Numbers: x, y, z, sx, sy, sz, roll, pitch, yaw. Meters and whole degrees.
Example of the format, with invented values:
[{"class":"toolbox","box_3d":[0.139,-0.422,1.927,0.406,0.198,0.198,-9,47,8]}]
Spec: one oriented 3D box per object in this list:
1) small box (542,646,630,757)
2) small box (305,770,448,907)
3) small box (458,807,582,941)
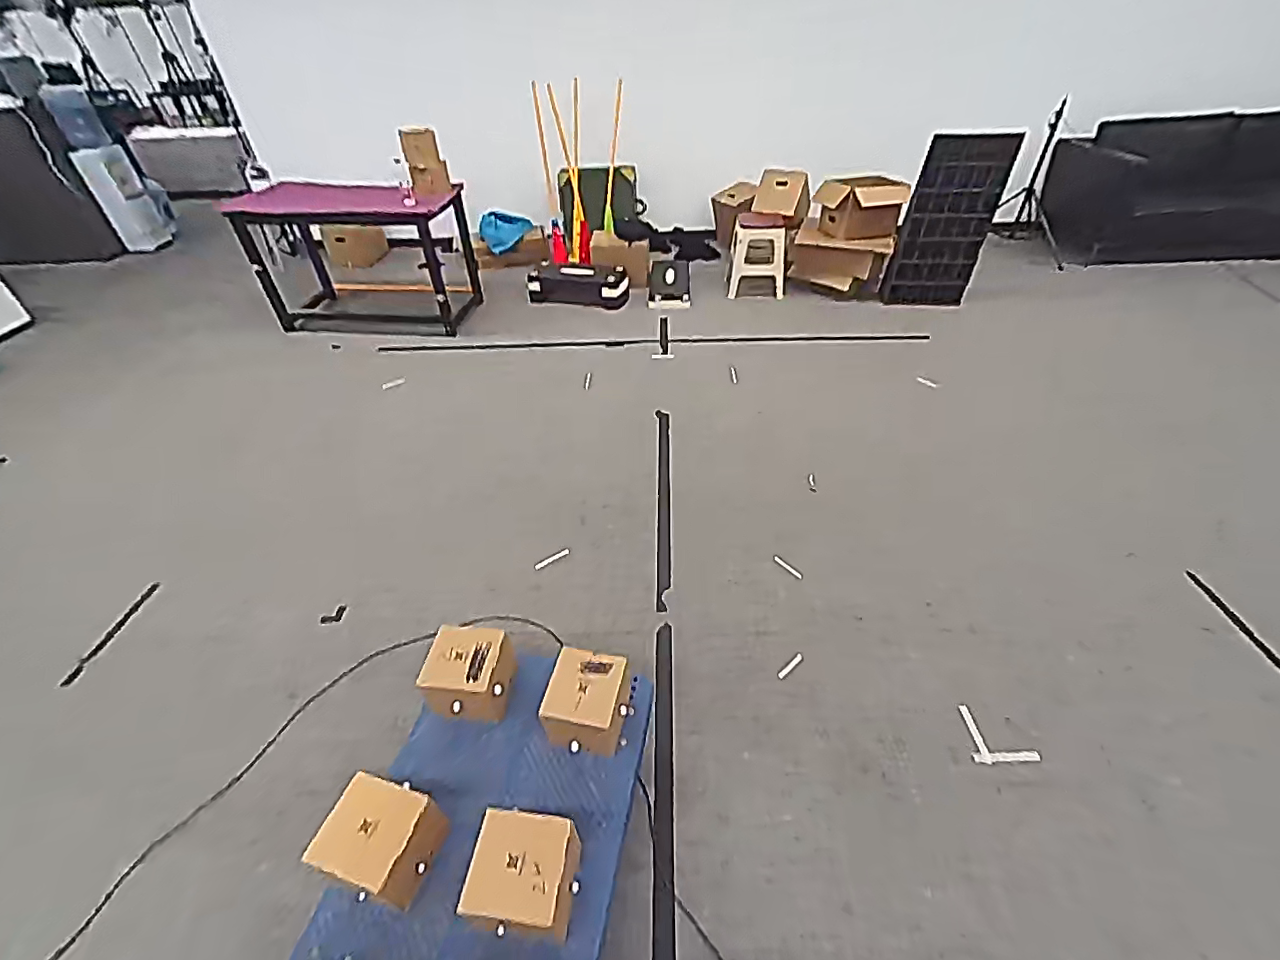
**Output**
[{"class":"small box","box_3d":[-0.121,0.533,1.303,0.168,0.176,0.179,7,44,11]},{"class":"small box","box_3d":[-0.522,0.731,1.099,0.179,0.176,0.168,12,43,13]},{"class":"small box","box_3d":[-0.221,0.764,1.047,0.179,0.176,0.168,4,42,7]}]
